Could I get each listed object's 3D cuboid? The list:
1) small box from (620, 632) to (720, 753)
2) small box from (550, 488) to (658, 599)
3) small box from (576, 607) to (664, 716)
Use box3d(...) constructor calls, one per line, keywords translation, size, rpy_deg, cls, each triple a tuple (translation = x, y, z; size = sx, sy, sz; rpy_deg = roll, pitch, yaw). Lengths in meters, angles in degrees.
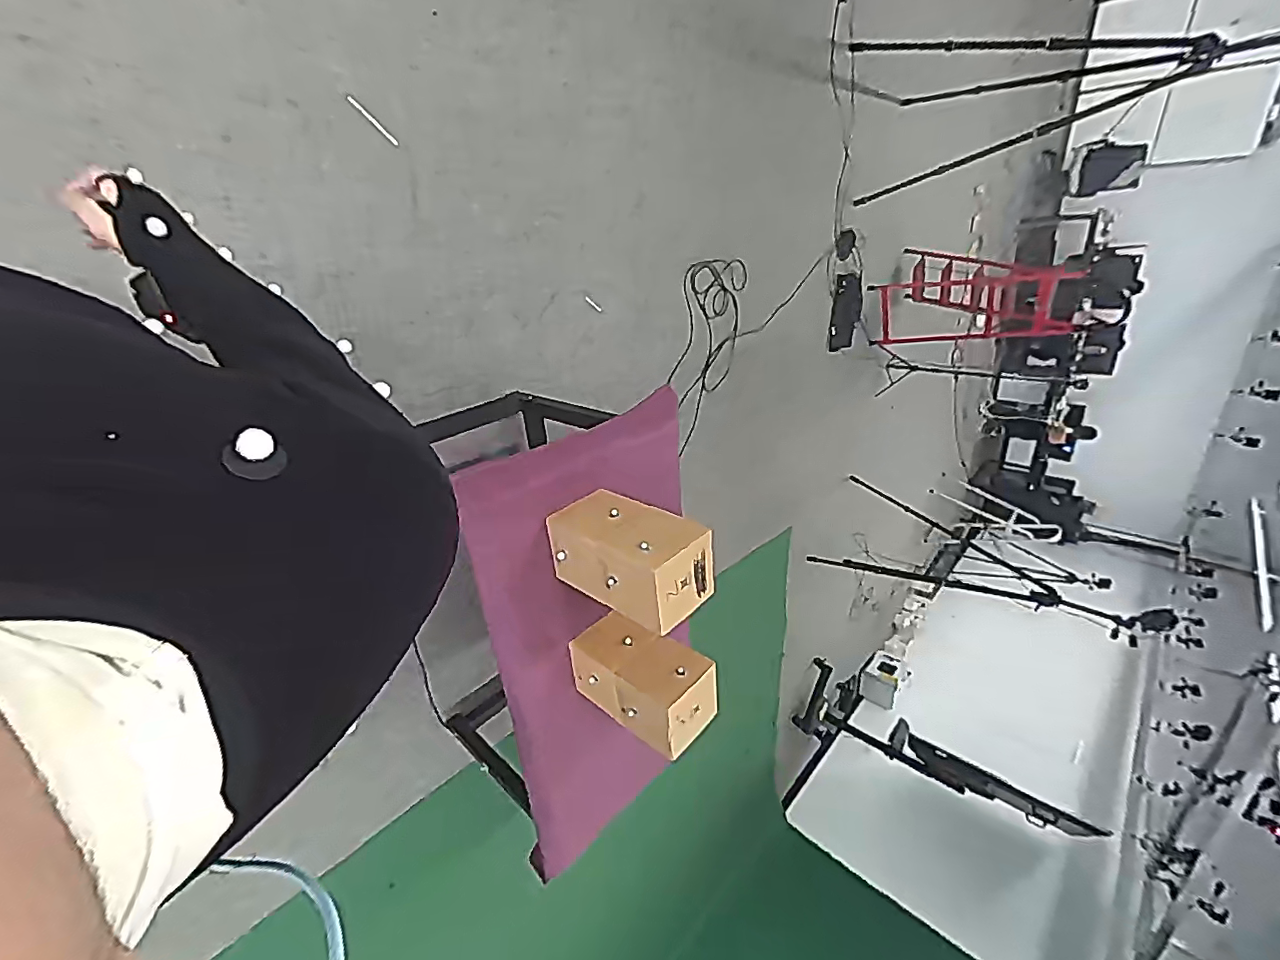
box3d(translation=(0.074, 0.497, 1.296), size=(0.179, 0.176, 0.168), rpy_deg=(-29, 123, -40), cls="small box")
box3d(translation=(-0.081, 0.137, 1.243), size=(0.179, 0.176, 0.168), rpy_deg=(-30, 124, -38), cls="small box")
box3d(translation=(-0.050, 0.461, 1.397), size=(0.179, 0.176, 0.168), rpy_deg=(-30, 124, -40), cls="small box")
